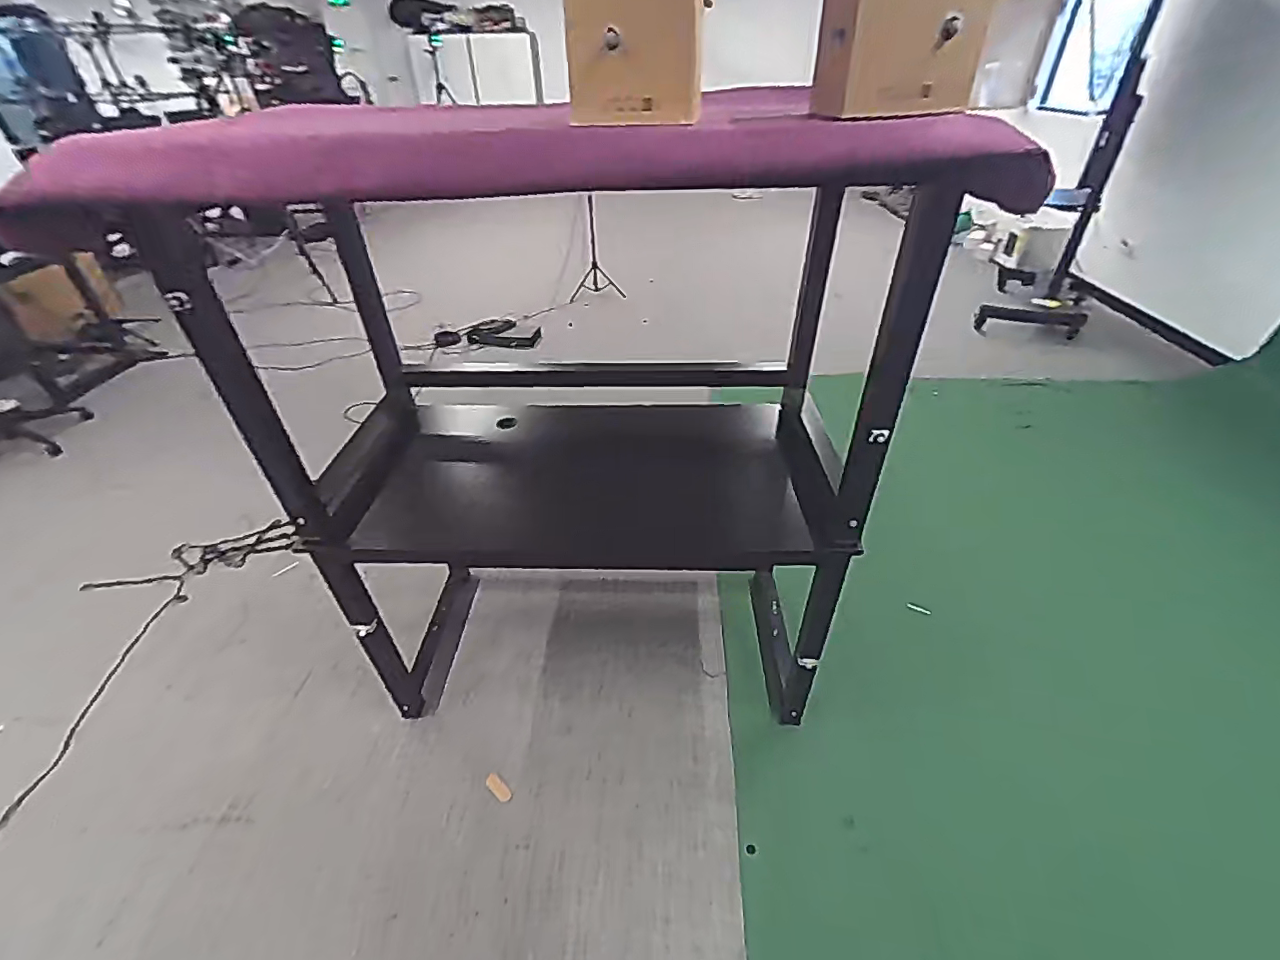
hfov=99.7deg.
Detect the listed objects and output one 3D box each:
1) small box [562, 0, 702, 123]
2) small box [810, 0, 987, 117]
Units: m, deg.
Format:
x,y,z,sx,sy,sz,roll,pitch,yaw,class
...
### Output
x,y,z,sx,sy,sz,roll,pitch,yaw,class
-0.002,-0.589,0.735,0.168,0.176,0.179,4,36,6,small box
0.340,-0.595,0.728,0.168,0.176,0.179,-1,35,1,small box
